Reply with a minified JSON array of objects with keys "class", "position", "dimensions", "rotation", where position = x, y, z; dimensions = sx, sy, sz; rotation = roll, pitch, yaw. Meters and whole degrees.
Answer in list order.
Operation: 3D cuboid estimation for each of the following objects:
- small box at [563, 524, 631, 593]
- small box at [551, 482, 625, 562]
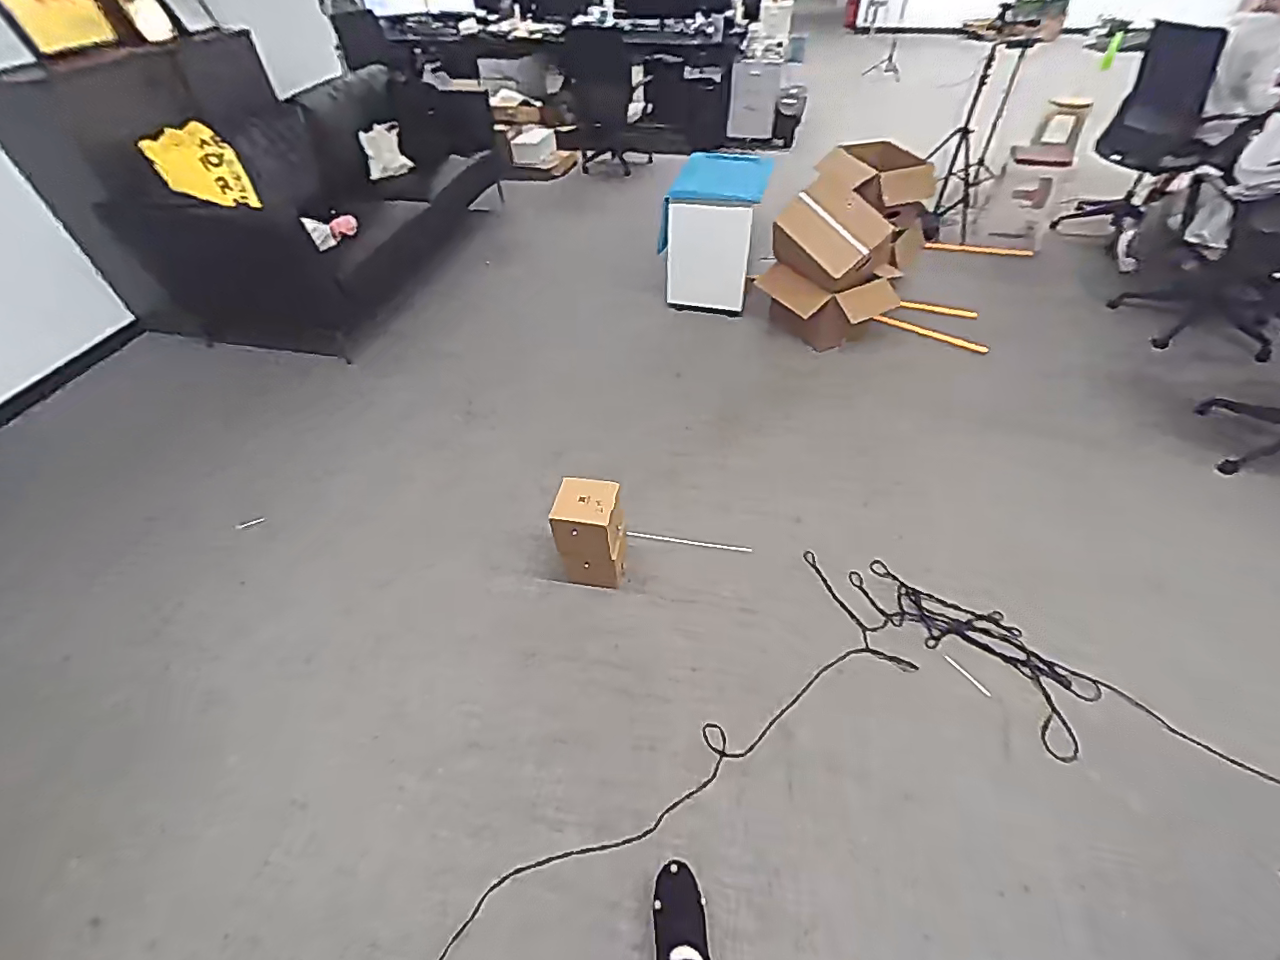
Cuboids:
[{"class":"small box","position":[-0.132,0.245,1.742],"dimensions":[0.179,0.176,0.168],"rotation":[7,47,9]},{"class":"small box","position":[-0.149,0.130,1.626],"dimensions":[0.179,0.176,0.168],"rotation":[7,48,10]}]
